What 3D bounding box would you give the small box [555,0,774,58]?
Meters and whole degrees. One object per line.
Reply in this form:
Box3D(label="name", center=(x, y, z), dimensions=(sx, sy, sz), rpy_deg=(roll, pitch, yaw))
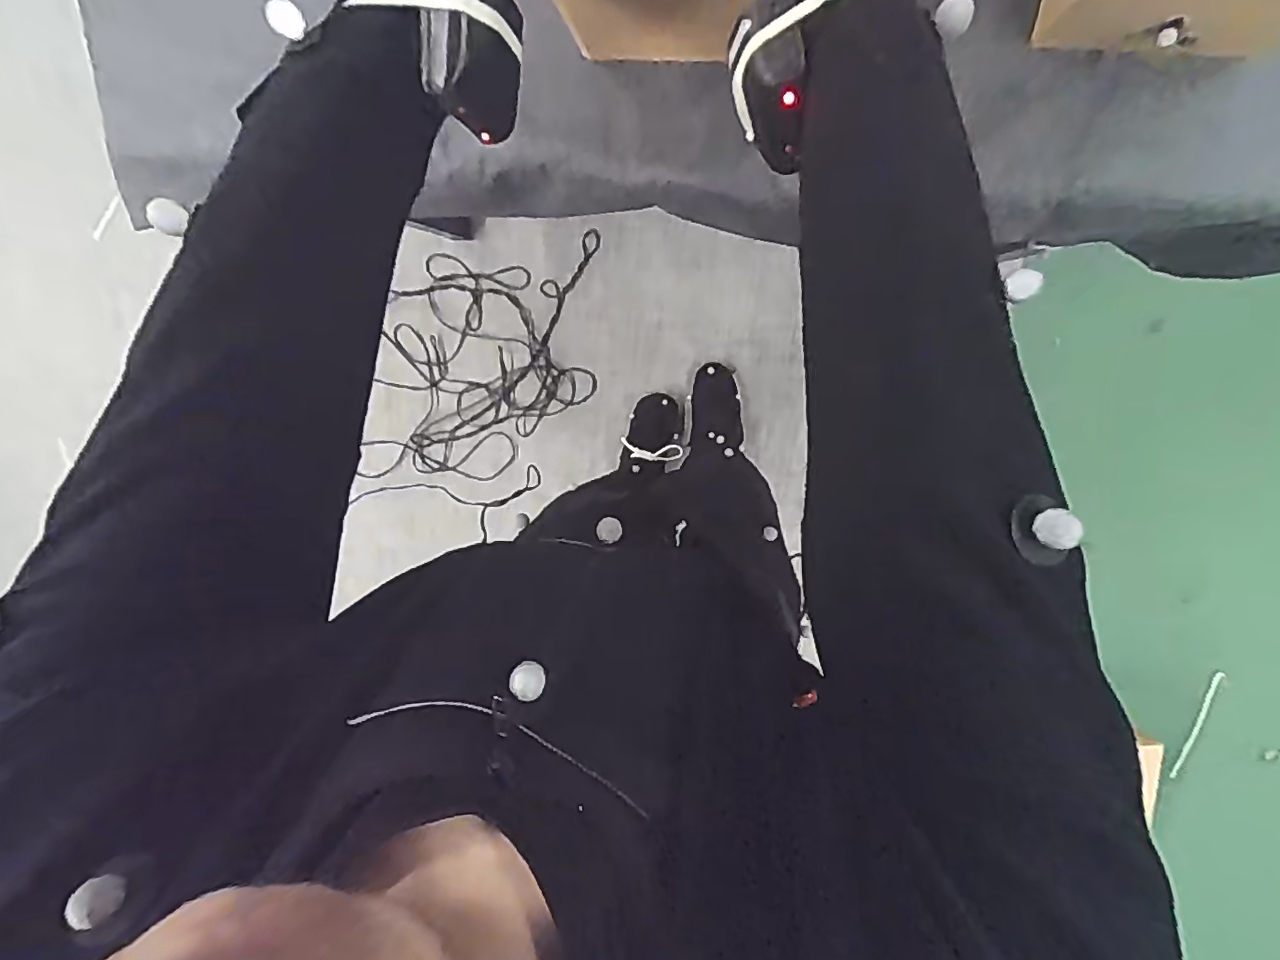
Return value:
Box3D(label="small box", center=(0.019, -0.437, 0.387), dimensions=(0.179, 0.176, 0.168), rpy_deg=(6, 106, 6))
